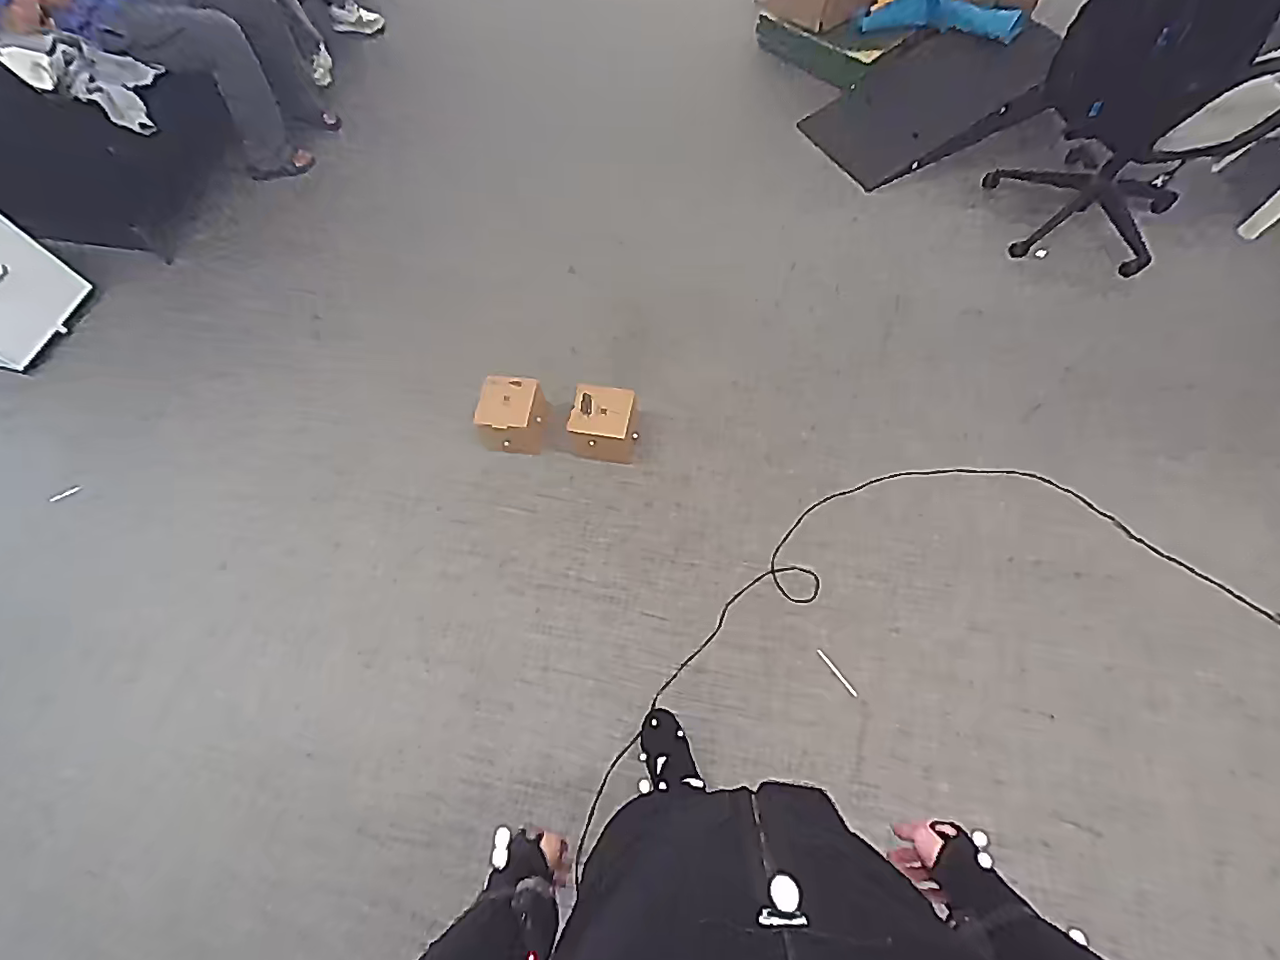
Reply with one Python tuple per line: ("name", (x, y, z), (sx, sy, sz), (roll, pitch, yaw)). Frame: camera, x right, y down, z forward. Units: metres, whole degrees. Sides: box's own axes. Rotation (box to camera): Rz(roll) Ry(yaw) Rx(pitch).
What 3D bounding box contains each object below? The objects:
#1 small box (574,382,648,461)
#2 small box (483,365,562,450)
("small box", (-0.083, -0.175, 1.656), (0.179, 0.176, 0.168), (12, 69, 10))
("small box", (-0.365, -0.221, 1.694), (0.179, 0.176, 0.168), (-23, 63, -4))
